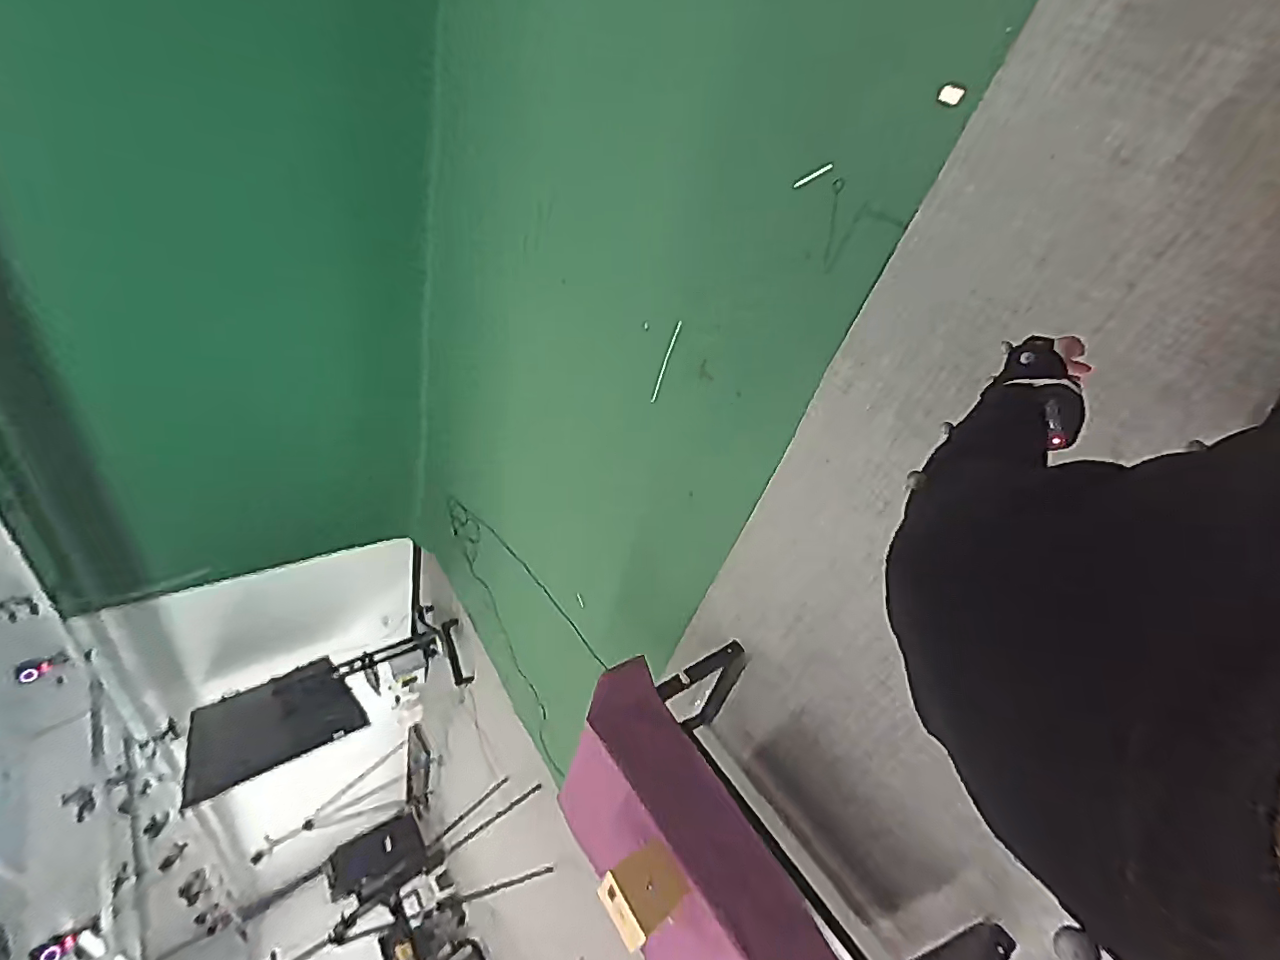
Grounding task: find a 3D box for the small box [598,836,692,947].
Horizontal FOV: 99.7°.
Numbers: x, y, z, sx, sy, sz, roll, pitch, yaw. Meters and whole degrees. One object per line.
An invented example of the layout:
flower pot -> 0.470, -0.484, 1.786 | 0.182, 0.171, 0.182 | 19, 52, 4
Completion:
small box -> 0.012, 1.145, 1.519 | 0.179, 0.176, 0.168 | 46, 134, 31
